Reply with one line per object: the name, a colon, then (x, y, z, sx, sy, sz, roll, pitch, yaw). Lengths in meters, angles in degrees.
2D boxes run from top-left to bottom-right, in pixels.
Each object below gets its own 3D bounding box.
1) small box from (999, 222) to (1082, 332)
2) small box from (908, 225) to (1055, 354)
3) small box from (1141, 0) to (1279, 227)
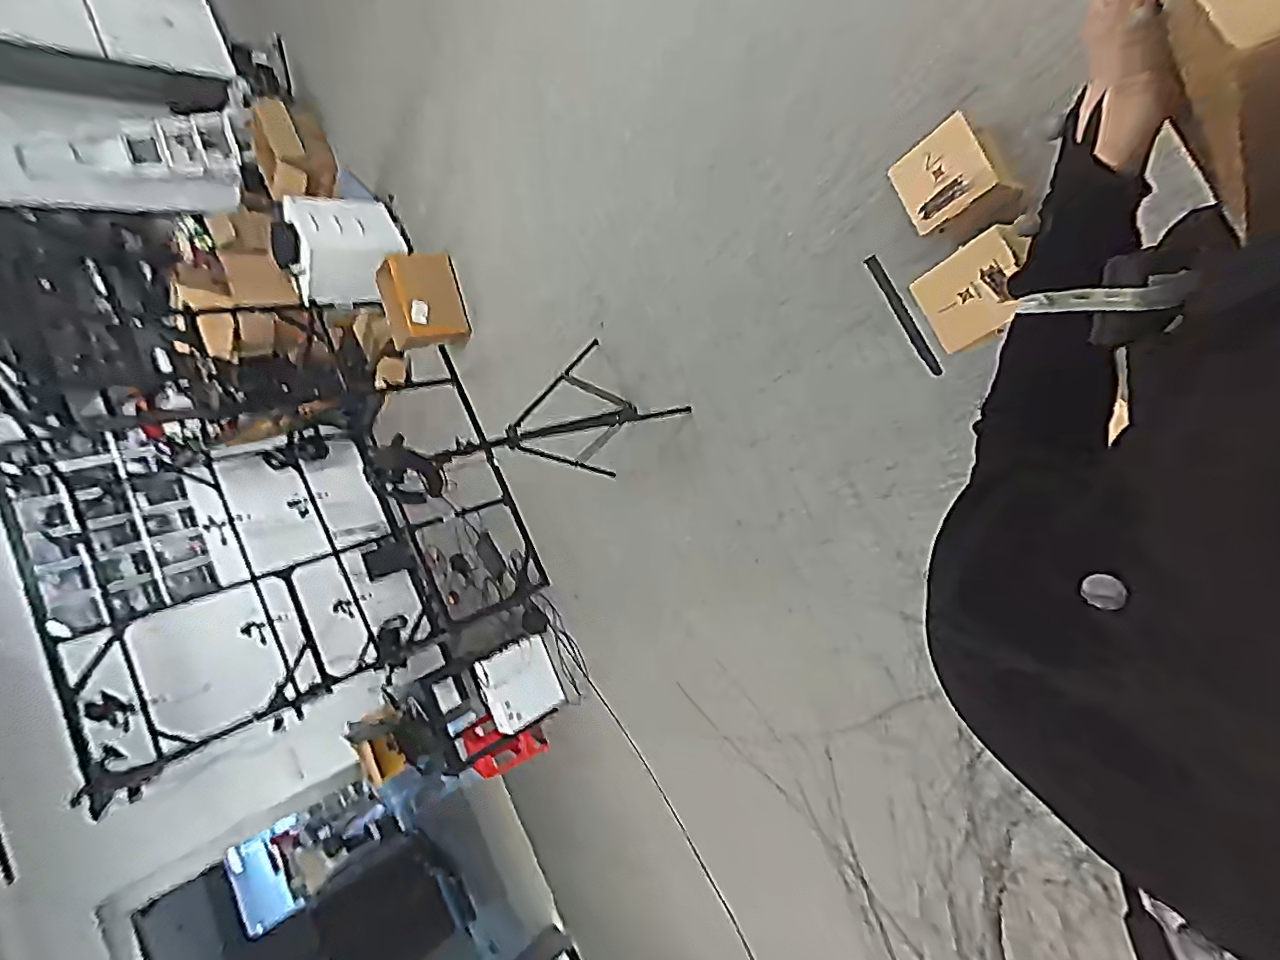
small box: (0.798, -0.424, 1.158, 0.179, 0.176, 0.168, -29, 84, 50)
small box: (0.676, -0.373, 1.061, 0.179, 0.176, 0.168, -35, 79, 51)
small box: (0.361, -0.260, 0.249, 0.168, 0.176, 0.179, -24, 60, 43)
